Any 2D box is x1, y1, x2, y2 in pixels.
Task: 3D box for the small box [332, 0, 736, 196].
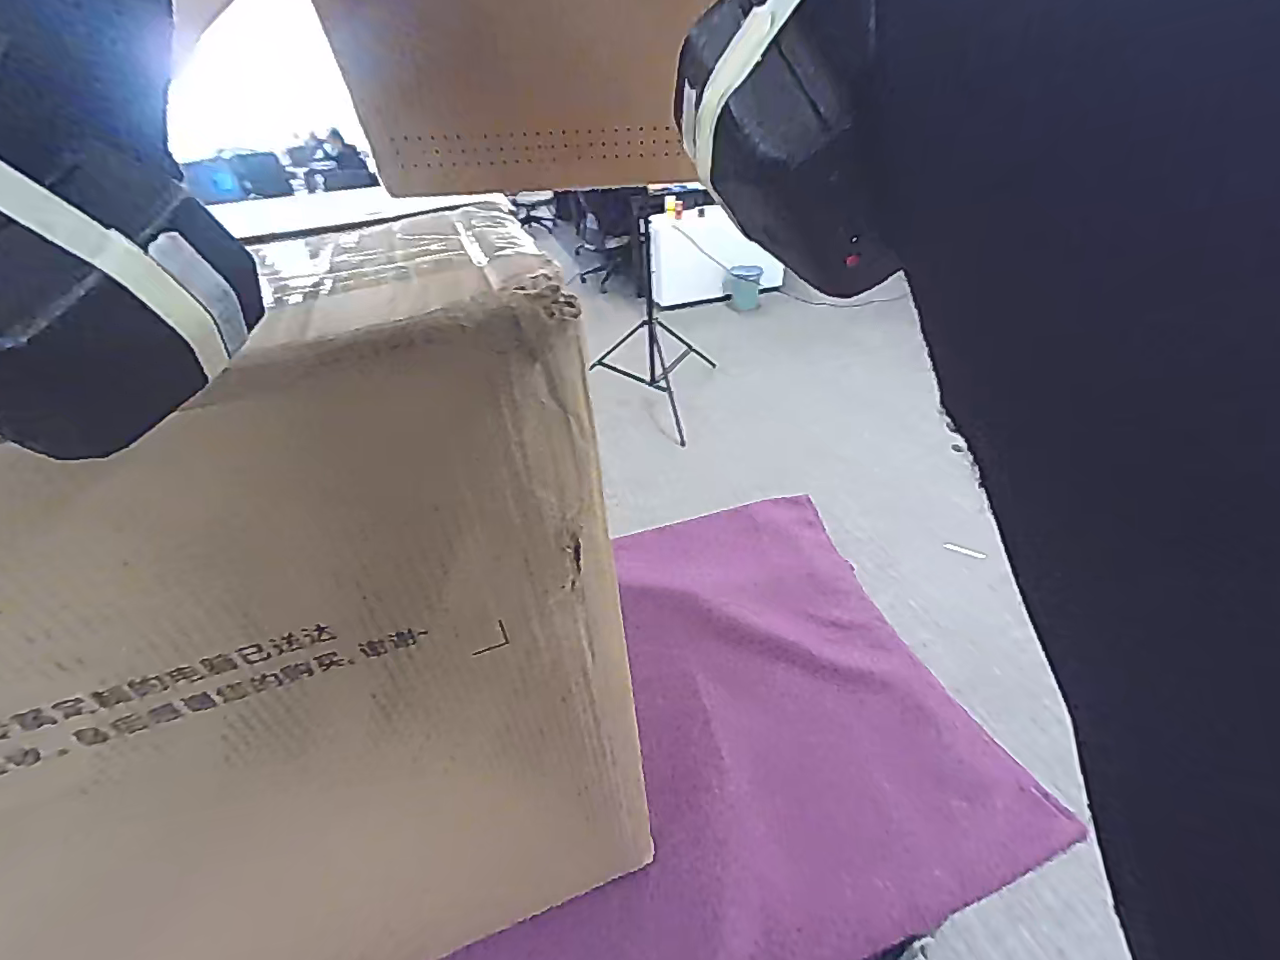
[{"bbox_3d":[-0.047,-0.267,0.267,0.179,0.176,0.168,-4,59,-2],"label":"small box"}]
